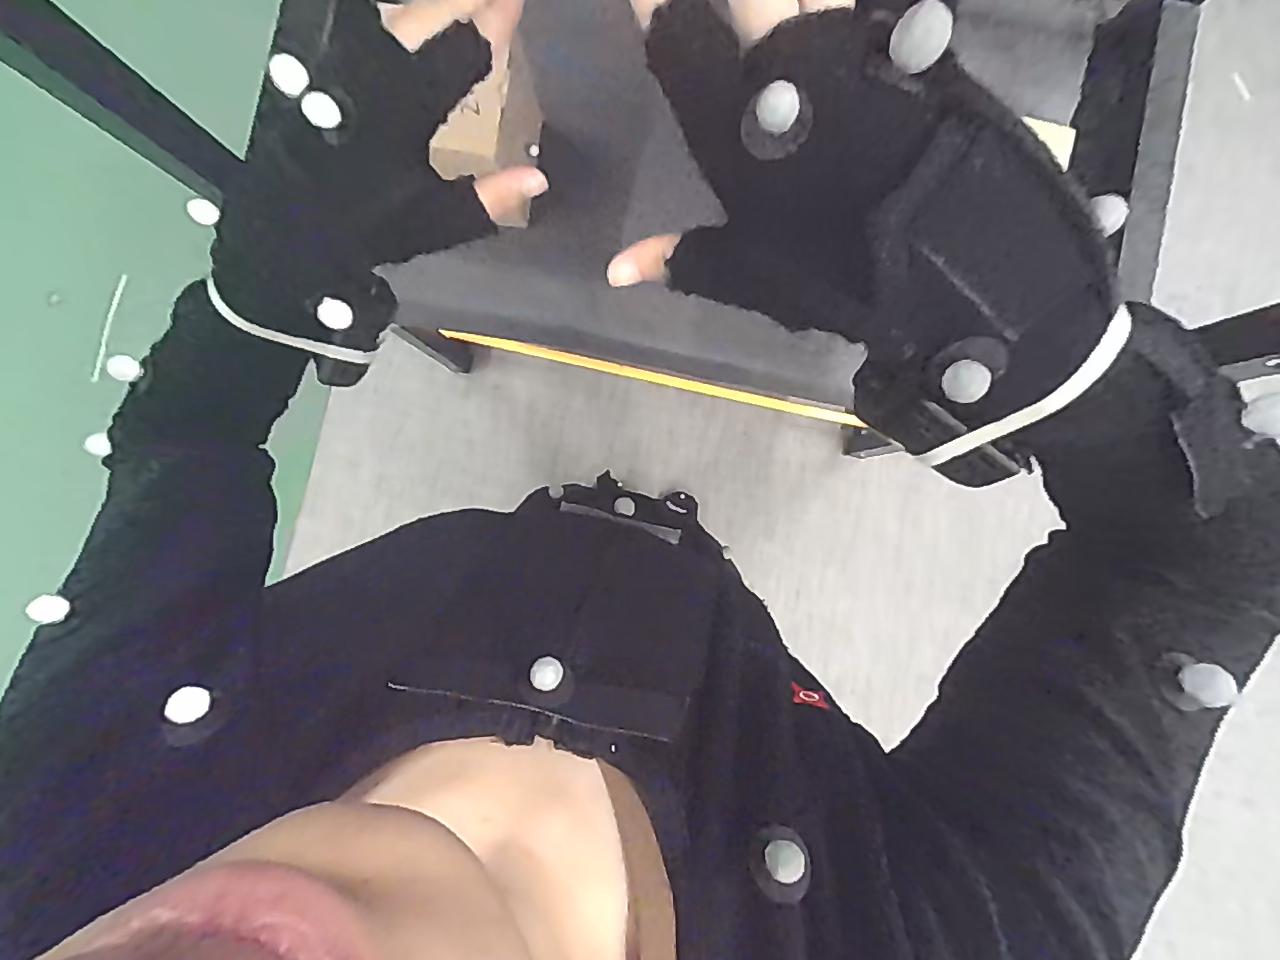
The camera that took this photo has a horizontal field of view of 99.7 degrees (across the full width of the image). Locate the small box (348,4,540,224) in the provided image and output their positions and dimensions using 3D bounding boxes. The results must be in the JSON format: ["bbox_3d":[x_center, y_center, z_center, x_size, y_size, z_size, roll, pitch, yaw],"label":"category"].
[{"bbox_3d":[-0.241,-0.459,0.704,0.179,0.176,0.168,8,89,0],"label":"small box"}]
